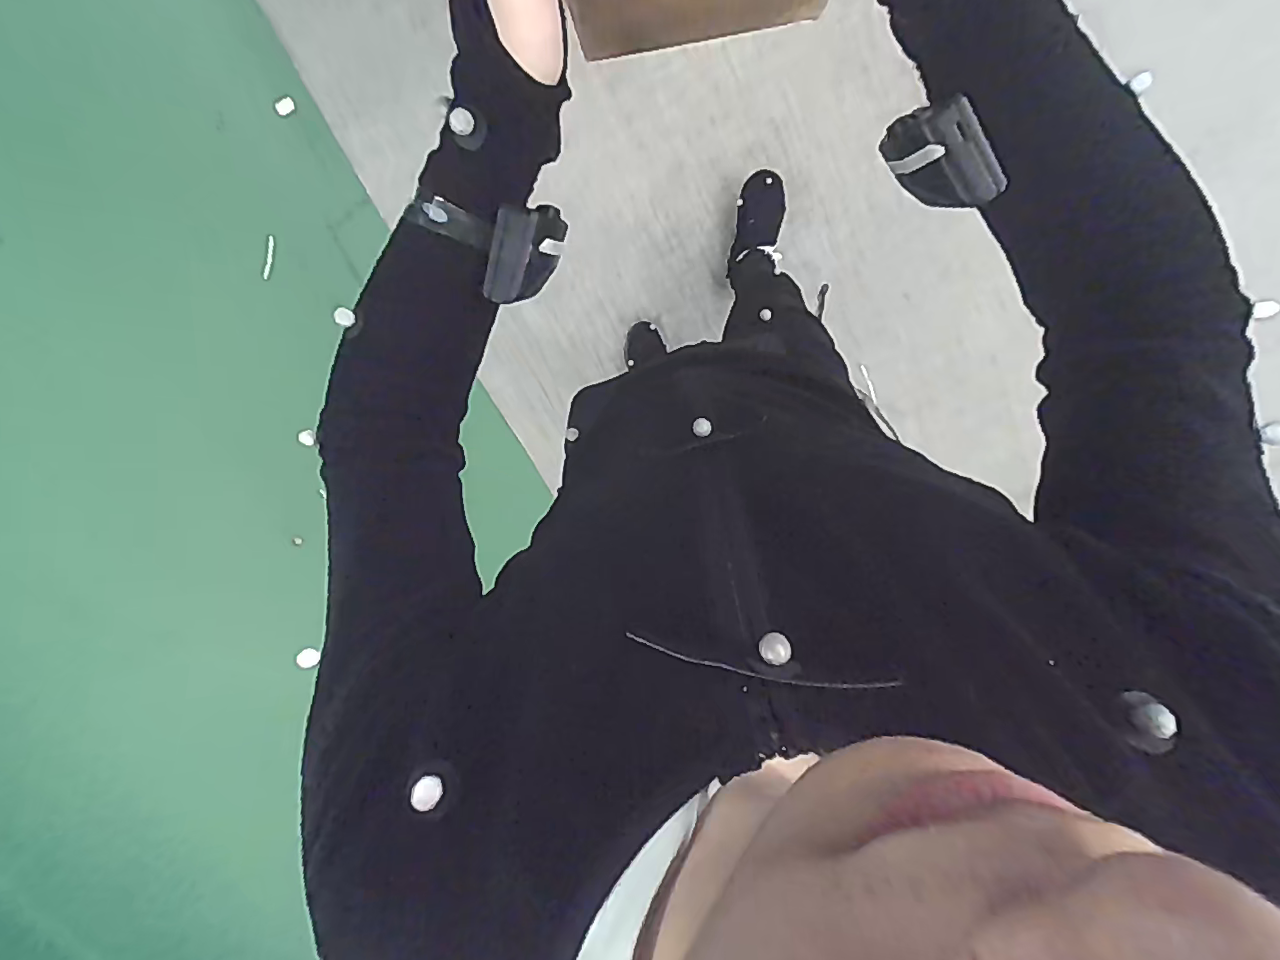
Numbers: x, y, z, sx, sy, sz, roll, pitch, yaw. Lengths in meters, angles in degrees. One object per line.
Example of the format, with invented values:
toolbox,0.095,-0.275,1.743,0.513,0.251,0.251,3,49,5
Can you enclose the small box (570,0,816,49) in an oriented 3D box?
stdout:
small box,0.028,-0.386,0.303,0.179,0.176,0.168,-4,100,7
